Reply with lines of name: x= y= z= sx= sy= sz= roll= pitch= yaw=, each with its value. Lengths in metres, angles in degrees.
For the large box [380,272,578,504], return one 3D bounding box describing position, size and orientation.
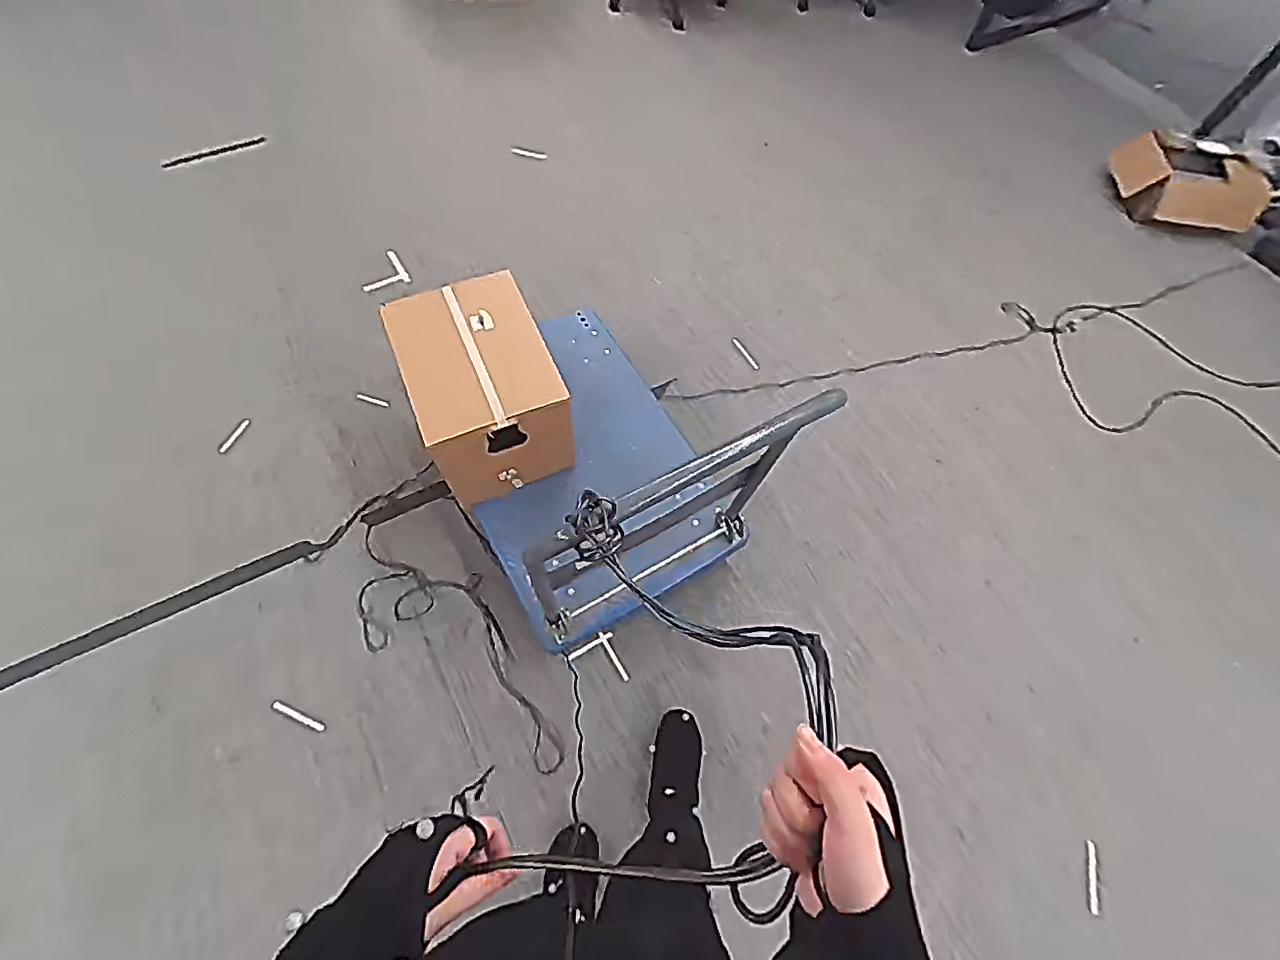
large box: x=-0.373 y=-0.216 z=1.315 sx=0.320 sy=0.320 sz=0.408 roll=-21 pitch=67 yaw=-14
